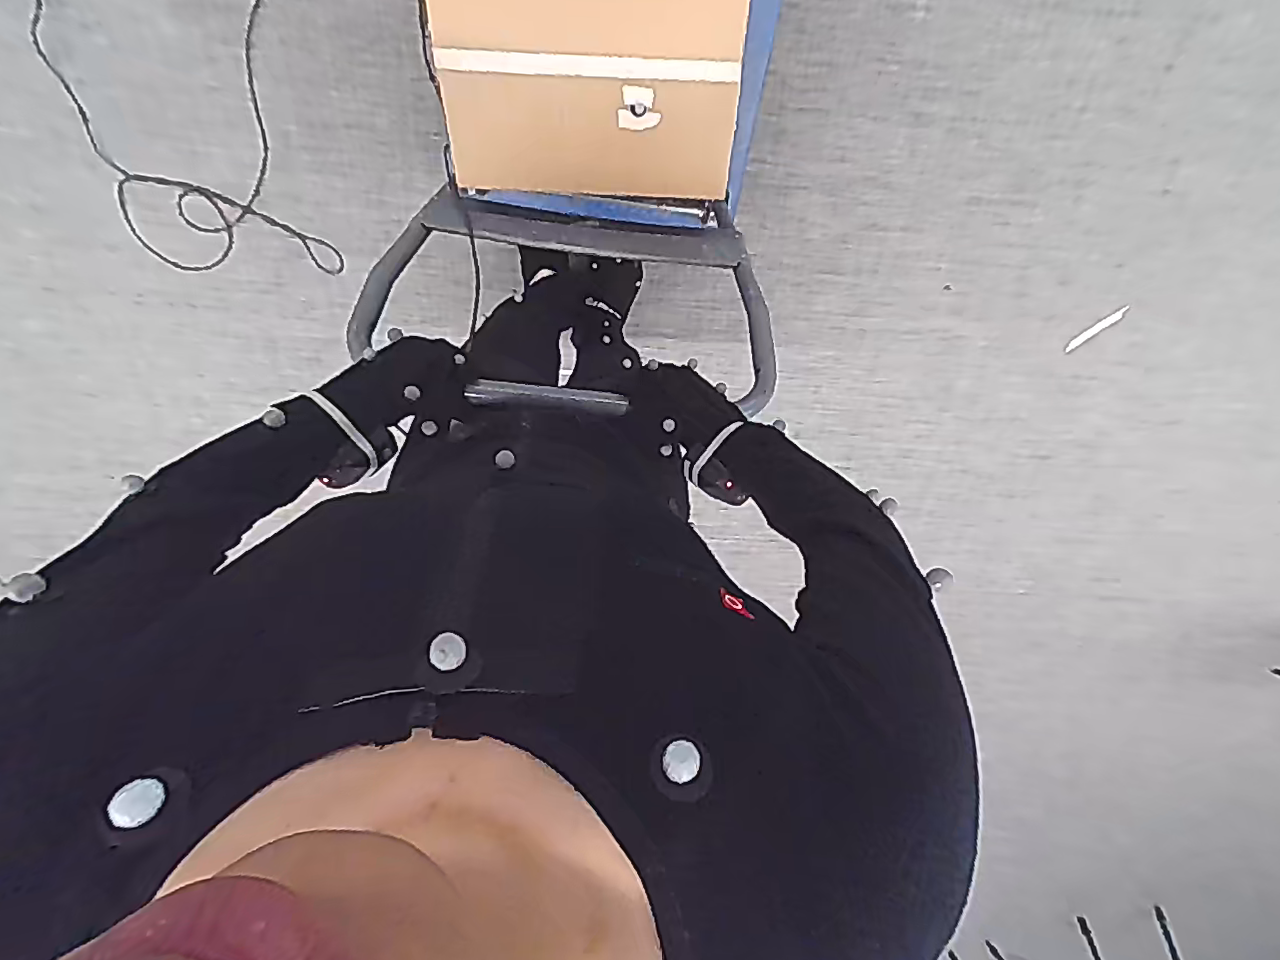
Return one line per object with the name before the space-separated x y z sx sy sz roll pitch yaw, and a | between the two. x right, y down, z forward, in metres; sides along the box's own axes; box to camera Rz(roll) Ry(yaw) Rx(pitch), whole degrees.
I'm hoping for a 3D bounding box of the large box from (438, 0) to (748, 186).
large box | -0.067 -0.665 0.839 0.408 0.320 0.320 1 131 -3
